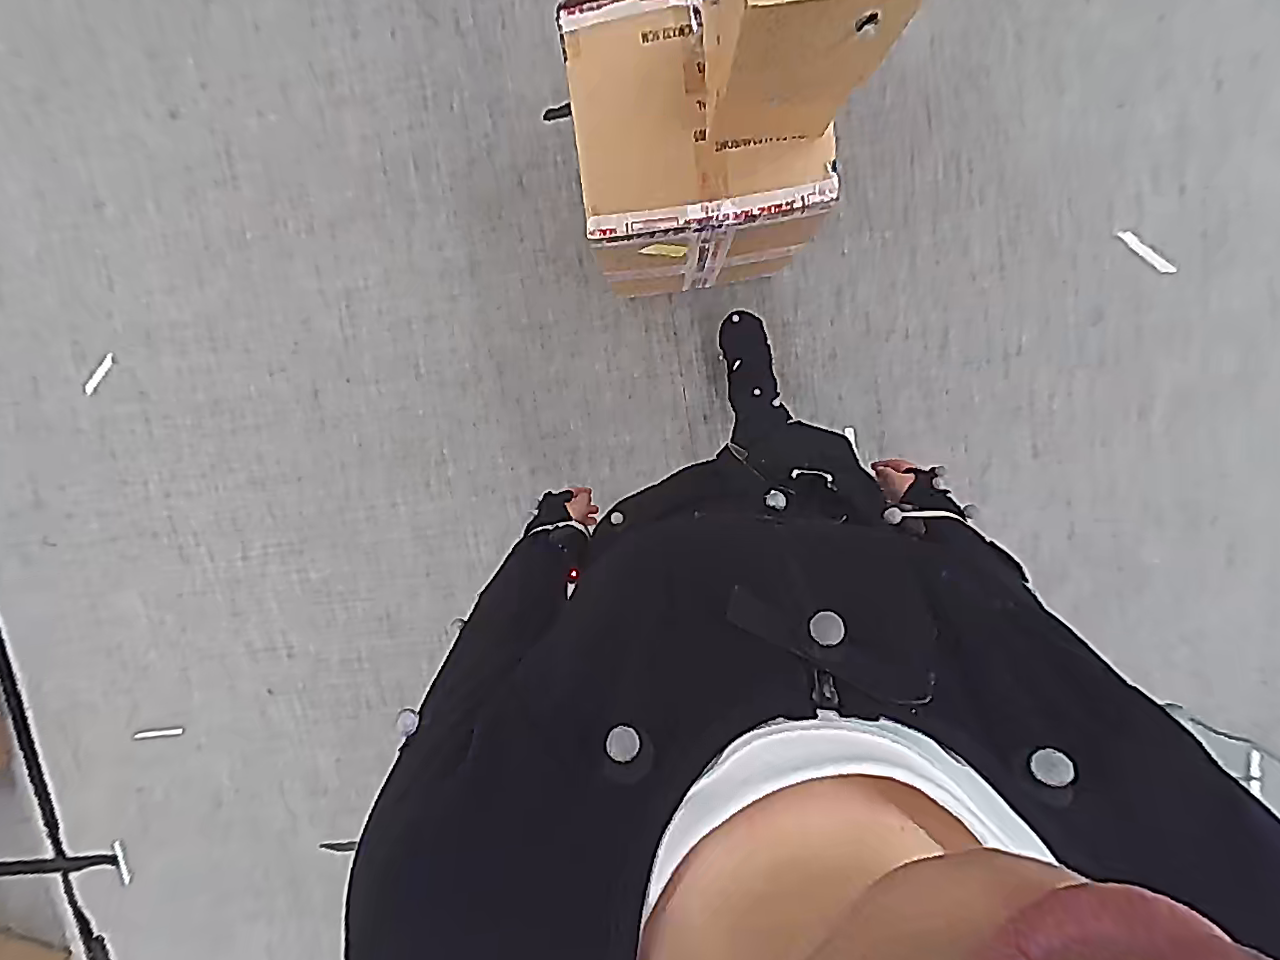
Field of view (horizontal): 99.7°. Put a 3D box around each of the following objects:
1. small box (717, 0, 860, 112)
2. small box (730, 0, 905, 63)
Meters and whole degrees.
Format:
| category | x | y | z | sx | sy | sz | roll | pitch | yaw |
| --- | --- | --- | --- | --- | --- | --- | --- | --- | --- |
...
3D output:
| category | x | y | z | sx | sy | sz | roll | pitch | yaw |
| --- | --- | --- | --- | --- | --- | --- | --- | --- | --- |
| small box | 0.197 | -0.621 | 0.718 | 0.179 | 0.176 | 0.168 | -3 | 97 | 1 |
| small box | 0.192 | -0.576 | 0.558 | 0.179 | 0.176 | 0.168 | -6 | 97 | 2 |
